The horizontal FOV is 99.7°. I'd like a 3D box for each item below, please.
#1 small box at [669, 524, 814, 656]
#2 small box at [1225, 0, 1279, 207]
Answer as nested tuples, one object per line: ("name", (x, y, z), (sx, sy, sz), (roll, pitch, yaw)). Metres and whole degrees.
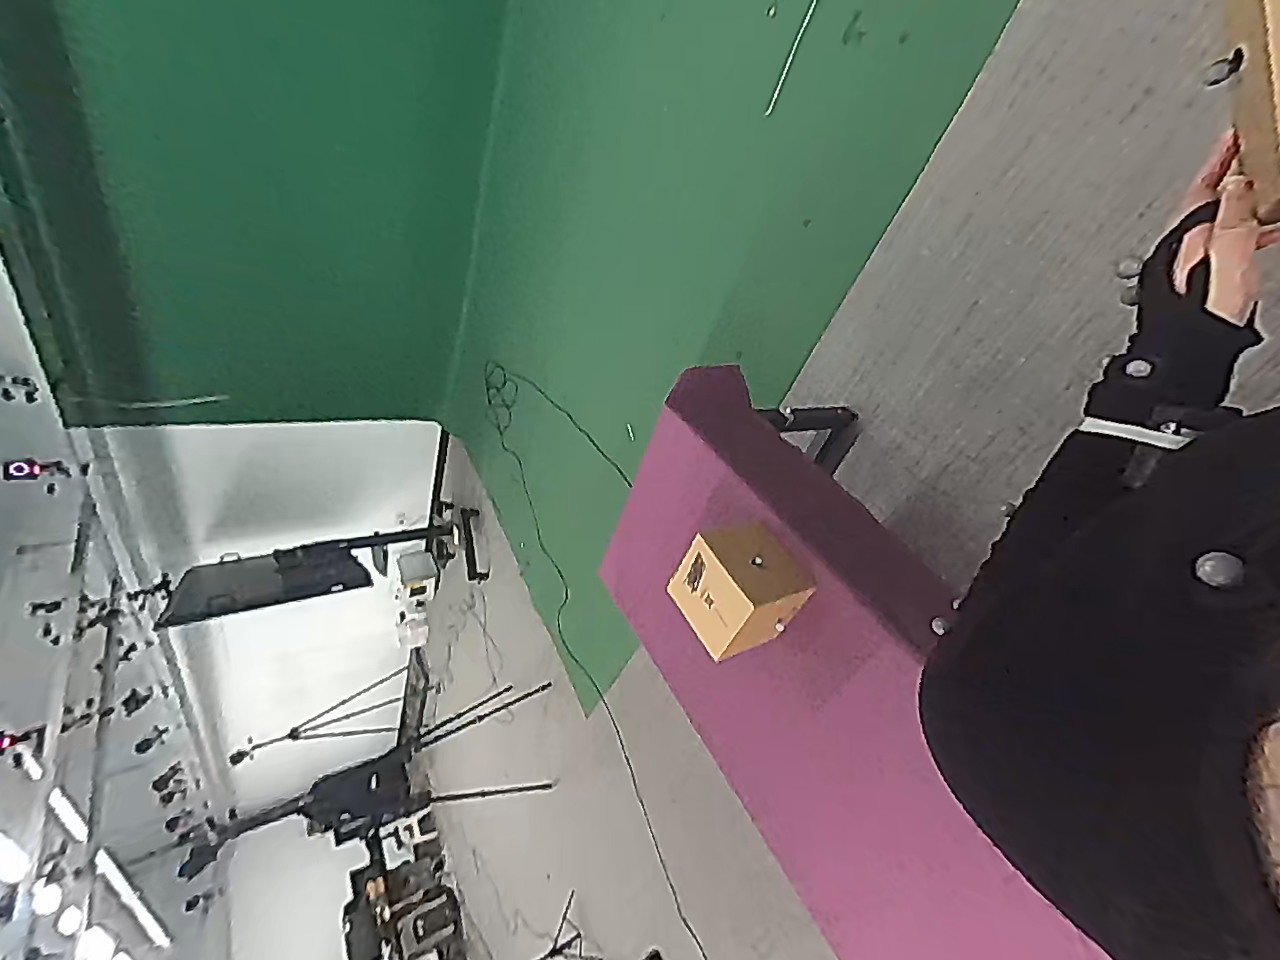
("small box", (0.190, 0.199, 1.032), (0.179, 0.176, 0.168), (53, 136, 34))
("small box", (0.402, -0.247, 0.248), (0.179, 0.176, 0.168), (-6, 99, 45))
